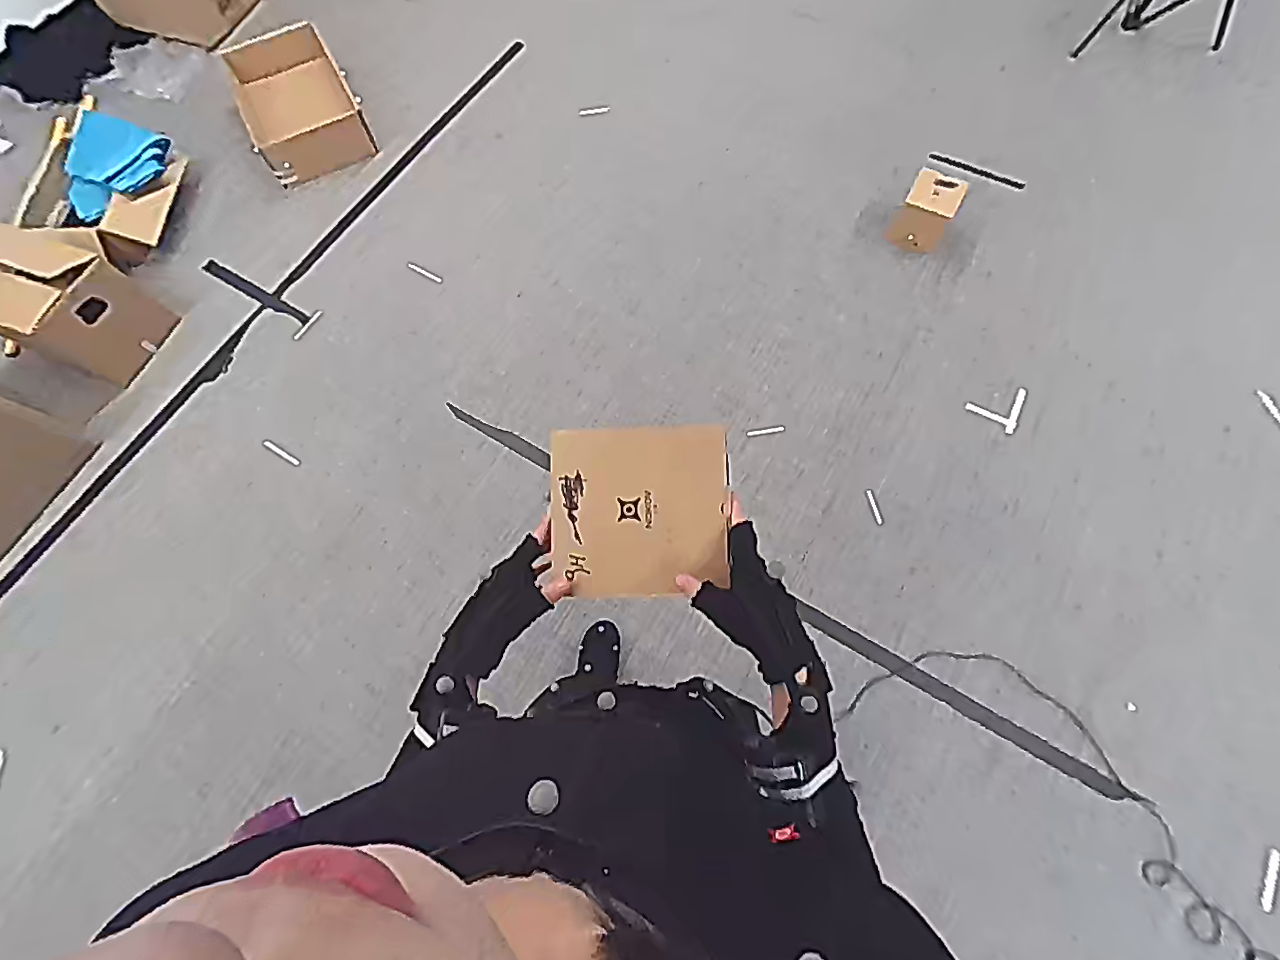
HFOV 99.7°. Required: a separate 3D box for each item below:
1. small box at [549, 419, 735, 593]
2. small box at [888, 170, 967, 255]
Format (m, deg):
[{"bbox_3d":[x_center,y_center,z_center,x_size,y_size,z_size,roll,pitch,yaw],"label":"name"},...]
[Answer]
[{"bbox_3d":[0.008,0.028,0.589,0.179,0.176,0.168,-1,86,8],"label":"small box"},{"bbox_3d":[1.003,-0.938,1.904,0.168,0.176,0.179,27,74,12],"label":"small box"}]
